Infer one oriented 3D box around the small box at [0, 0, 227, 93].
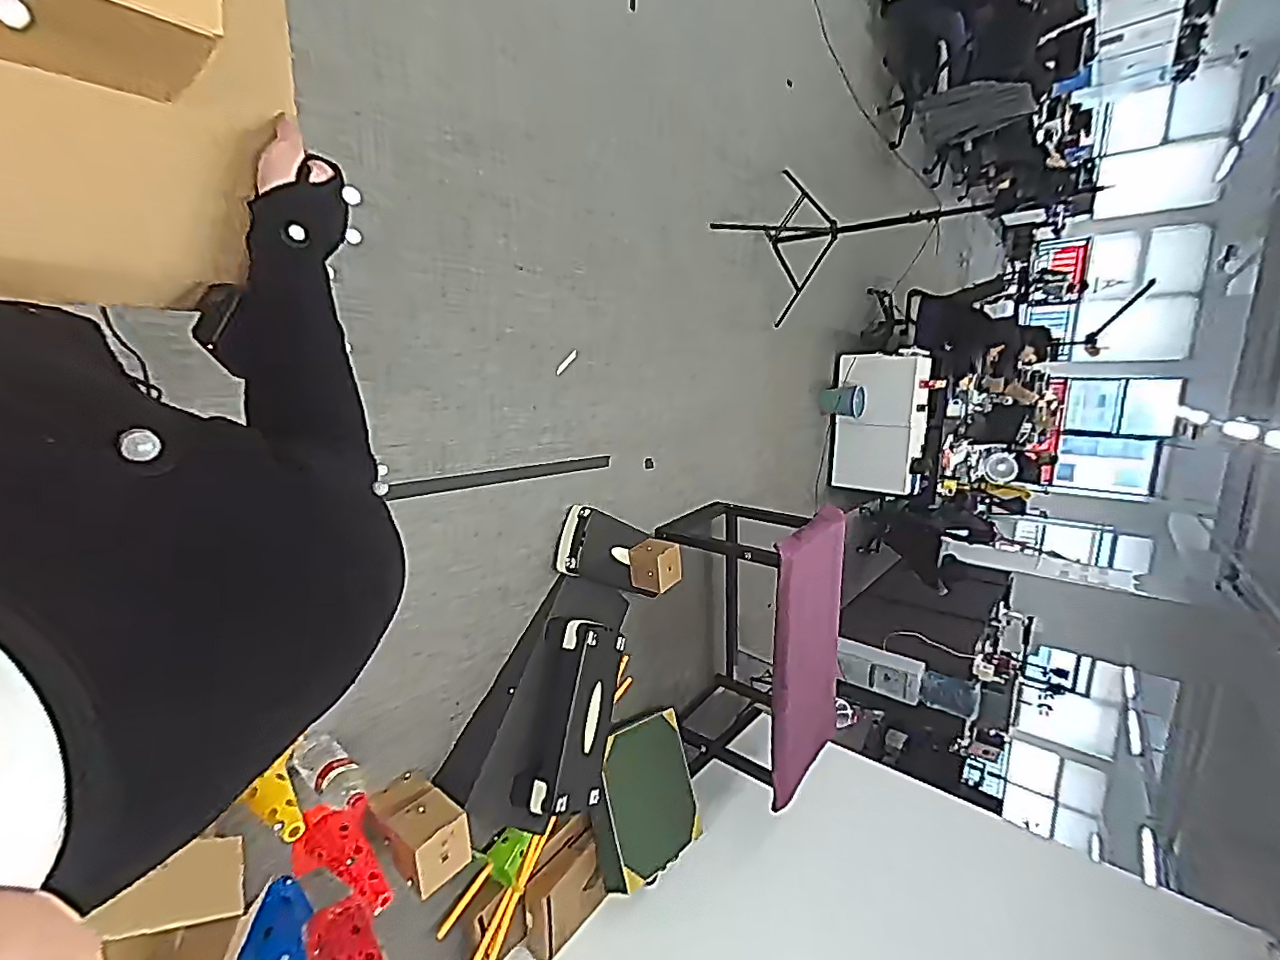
[{"bbox_3d":[-0.392,-0.373,0.335,0.179,0.176,0.168,-13,111,-46],"label":"small box"}]
